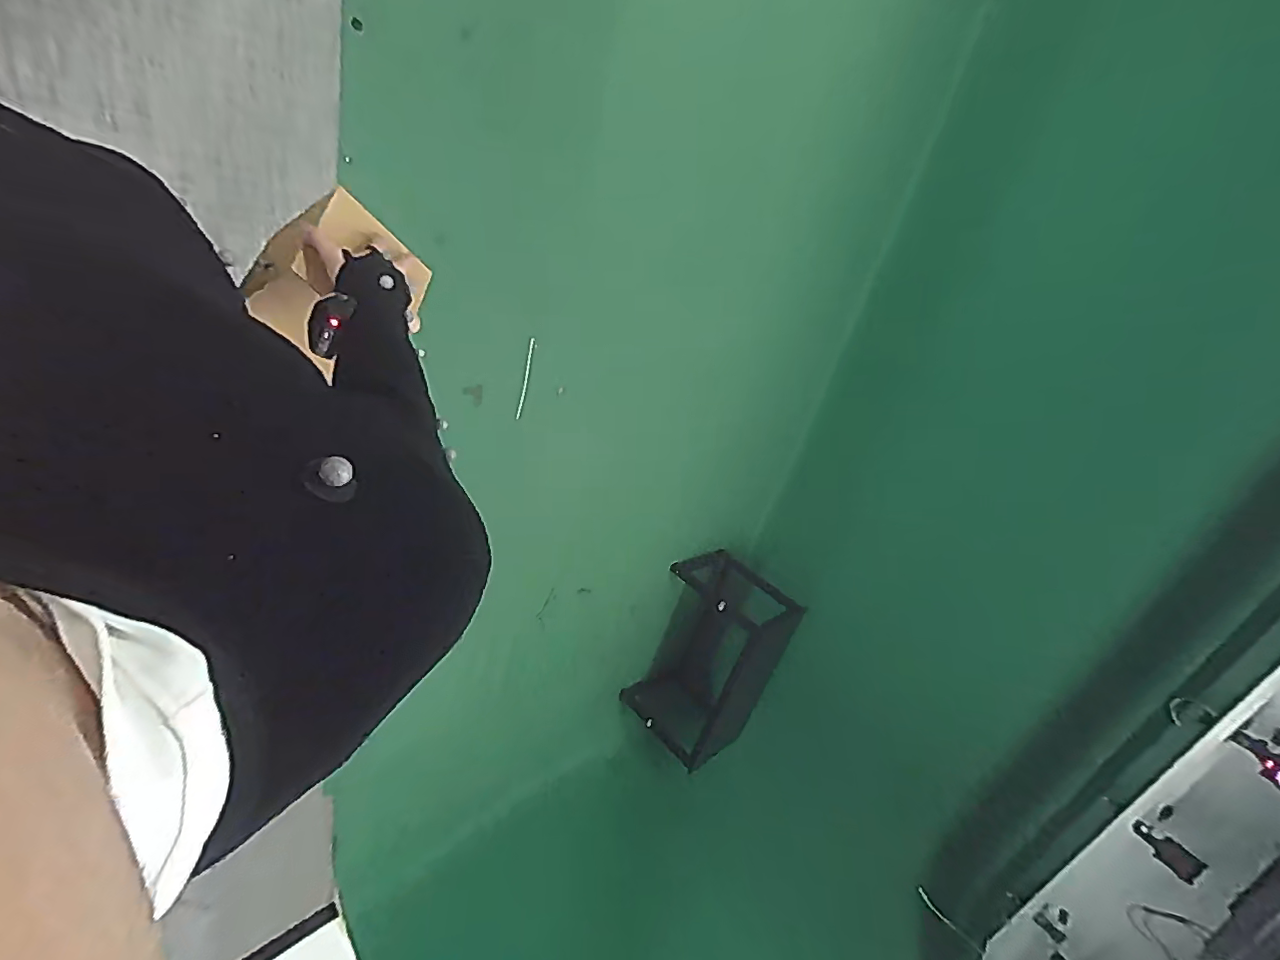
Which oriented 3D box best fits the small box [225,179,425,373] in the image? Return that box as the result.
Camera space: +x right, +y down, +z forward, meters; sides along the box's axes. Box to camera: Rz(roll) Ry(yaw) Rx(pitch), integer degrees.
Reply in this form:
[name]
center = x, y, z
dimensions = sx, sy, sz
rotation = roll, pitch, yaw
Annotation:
[small box]
center = -0.454, -0.283, 0.785
dimensions = 0.168, 0.176, 0.179
rotation = 43, 43, -47
